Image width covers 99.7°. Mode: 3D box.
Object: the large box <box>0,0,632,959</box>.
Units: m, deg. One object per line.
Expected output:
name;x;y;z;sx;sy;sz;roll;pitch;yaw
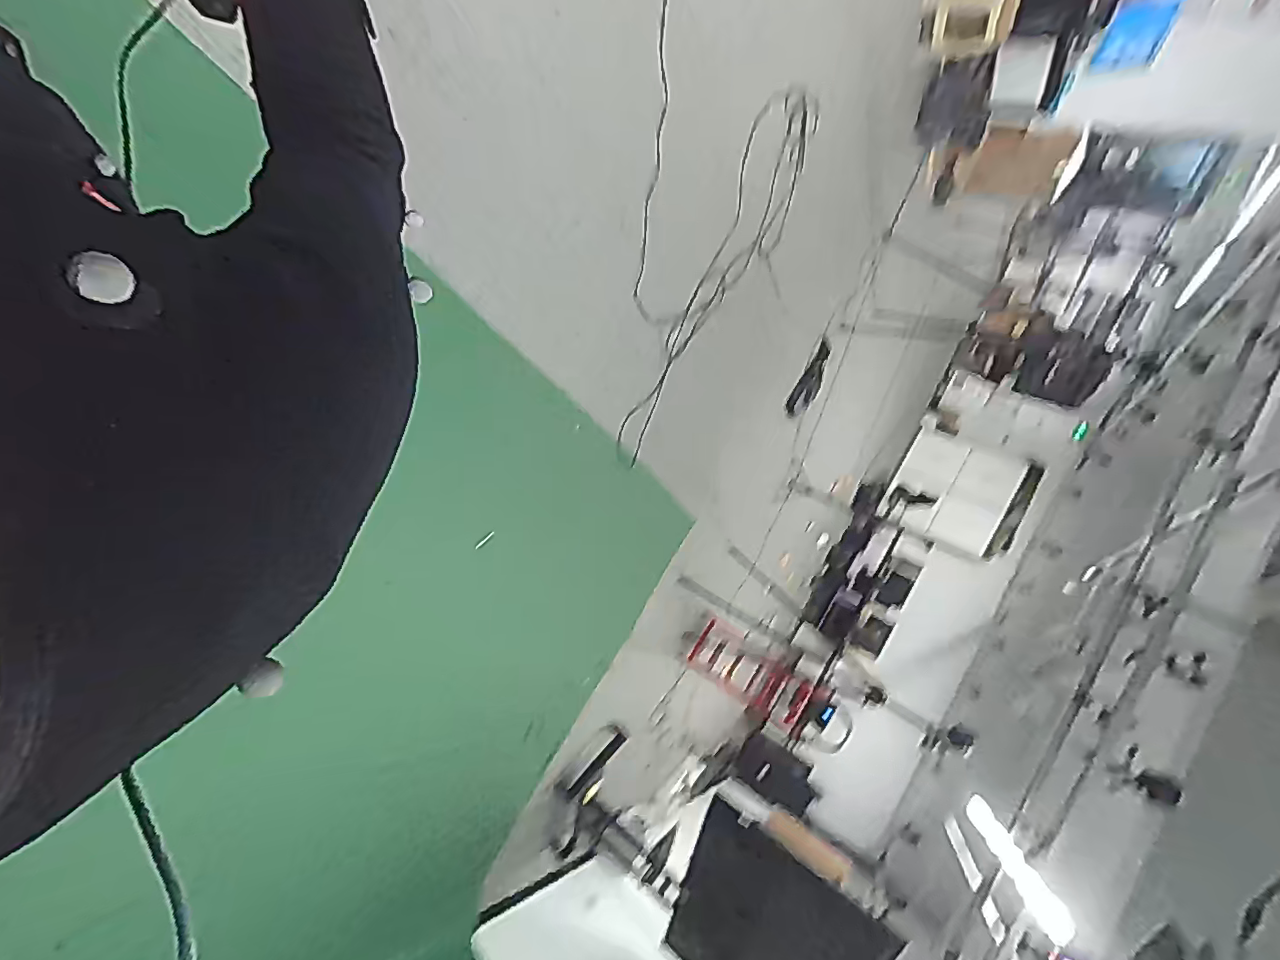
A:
large box;-0.203;-0.032;0.304;0.320;0.320;0.408;2;78;-20
